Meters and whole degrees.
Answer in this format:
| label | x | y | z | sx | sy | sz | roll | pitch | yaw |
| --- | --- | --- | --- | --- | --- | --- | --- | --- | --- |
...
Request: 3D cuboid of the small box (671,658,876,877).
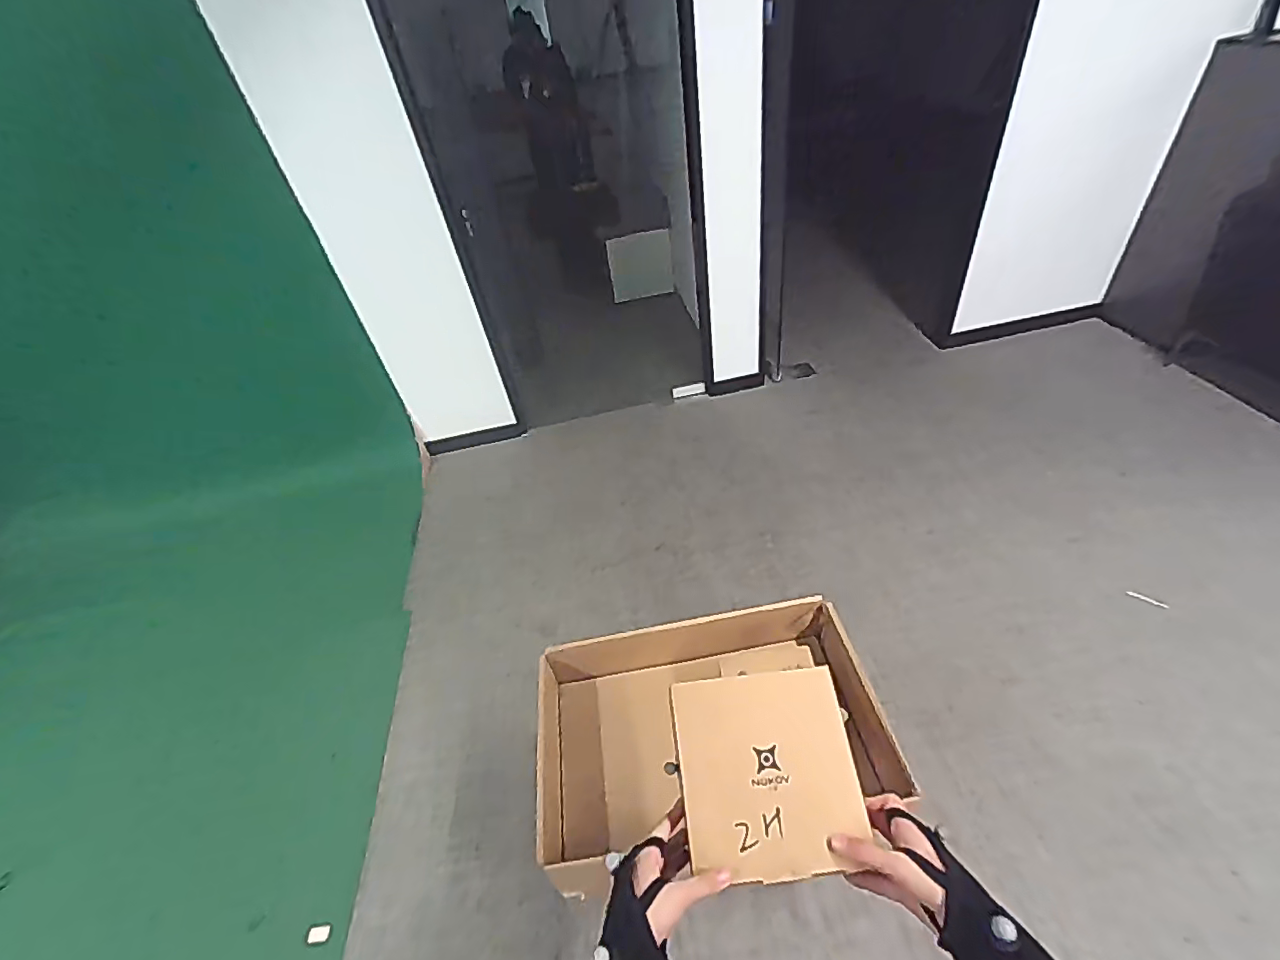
| label | x | y | z | sx | sy | sz | roll | pitch | yaw |
| --- | --- | --- | --- | --- | --- | --- | --- | --- | --- |
| small box | 0.123 | 0.303 | 0.582 | 0.168 | 0.176 | 0.179 | -6 | 62 | 1 |
